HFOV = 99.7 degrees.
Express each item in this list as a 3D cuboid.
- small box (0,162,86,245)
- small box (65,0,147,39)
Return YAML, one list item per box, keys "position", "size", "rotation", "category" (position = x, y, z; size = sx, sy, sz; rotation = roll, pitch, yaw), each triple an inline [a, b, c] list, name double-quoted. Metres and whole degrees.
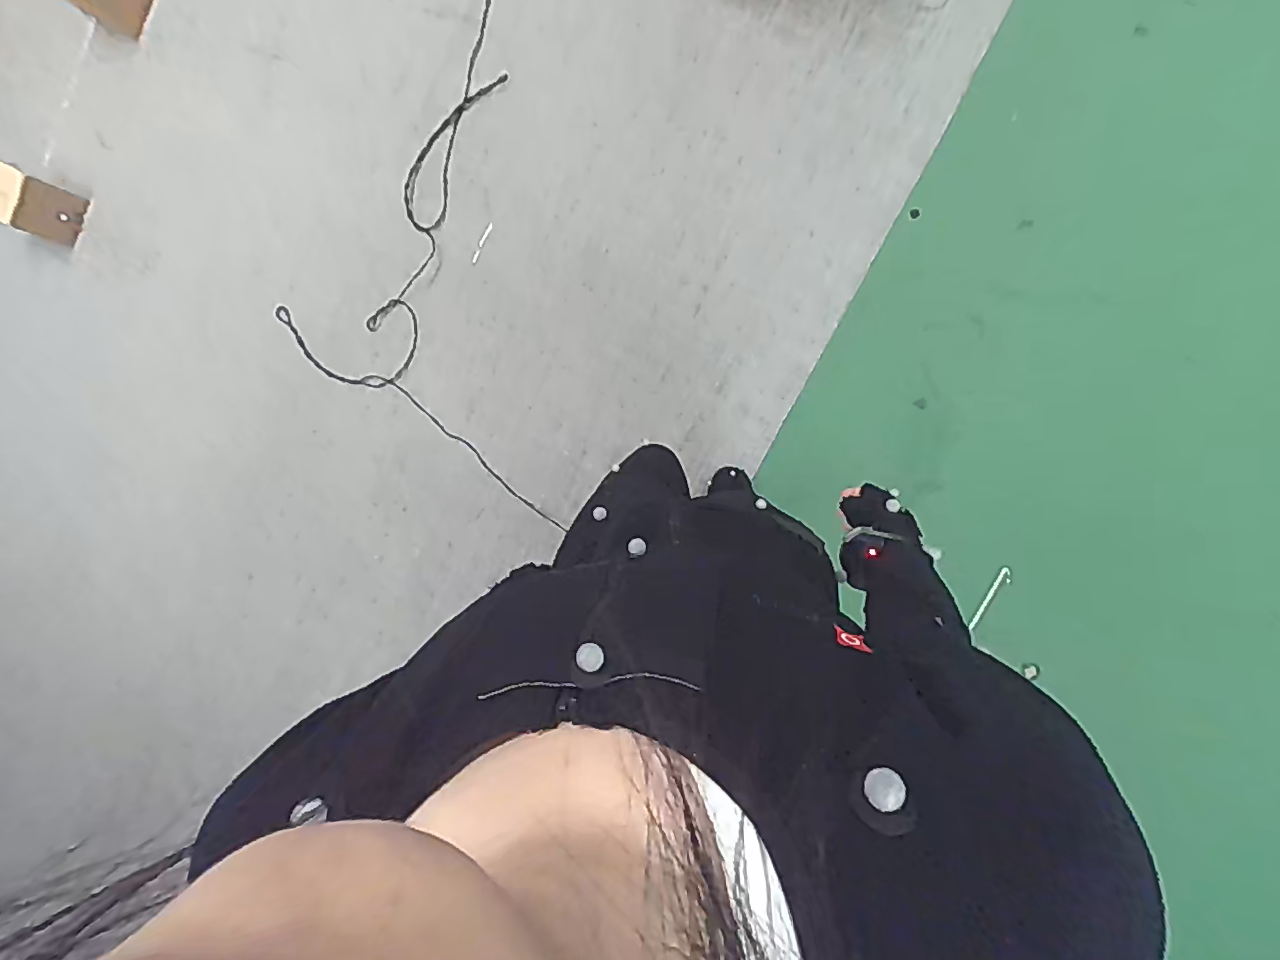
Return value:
- position: [-1.906, -0.863, 1.681]
  size: [0.179, 0.176, 0.168]
  rotation: [26, 96, 7]
  category: "small box"
- position: [-1.626, -1.484, 1.609]
  size: [0.168, 0.176, 0.179]
  rotation: [26, 97, 6]
  category: "small box"
